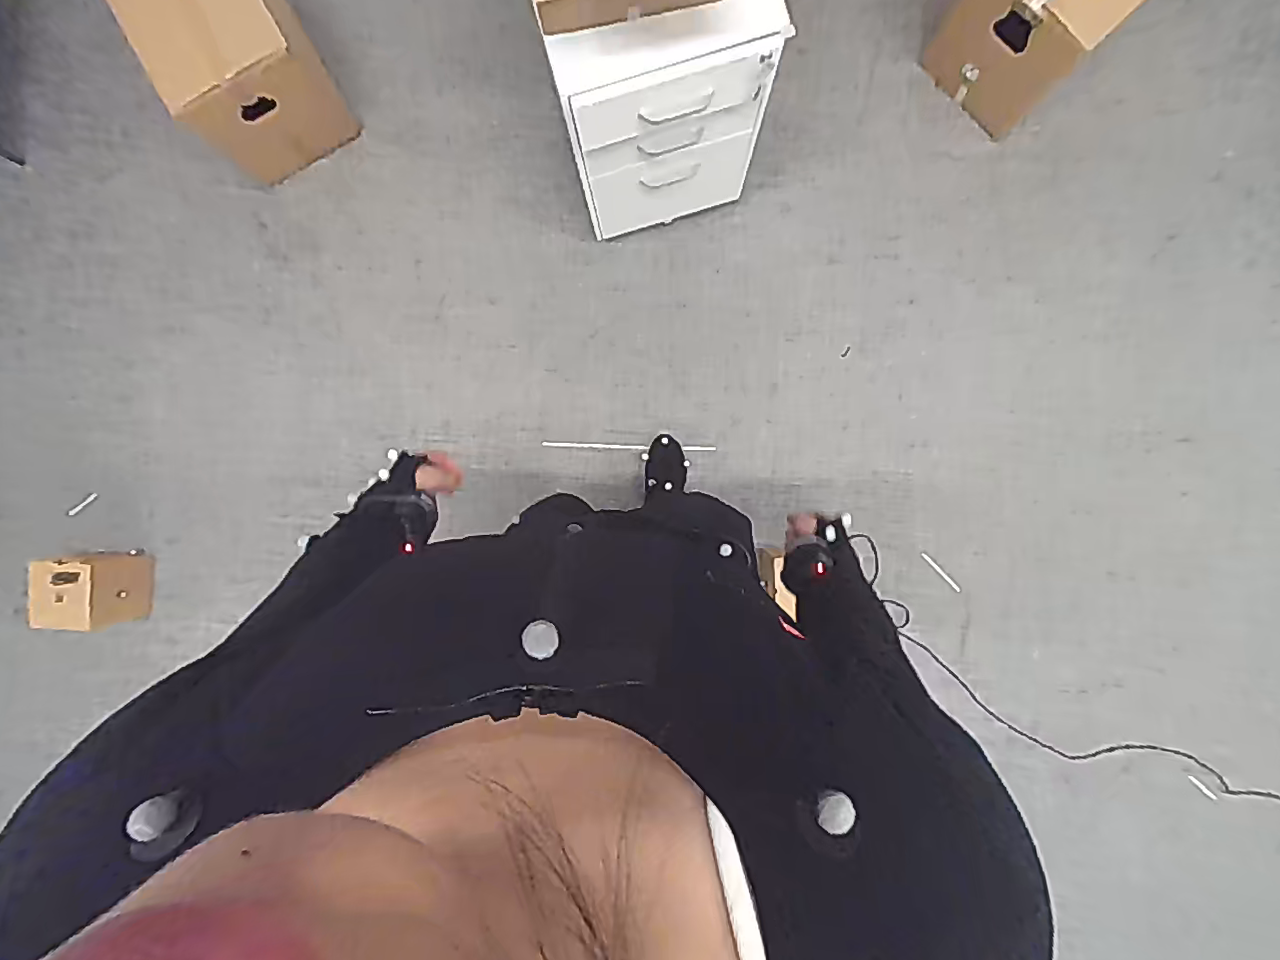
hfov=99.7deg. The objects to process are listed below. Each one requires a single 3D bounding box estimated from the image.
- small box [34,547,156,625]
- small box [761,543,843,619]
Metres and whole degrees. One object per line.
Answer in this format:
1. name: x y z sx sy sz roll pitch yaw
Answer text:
1. small box: -1.466 0.279 1.464 0.168 0.176 0.179 3 91 2
2. small box: 0.409 0.255 1.393 0.179 0.176 0.168 0 91 3
